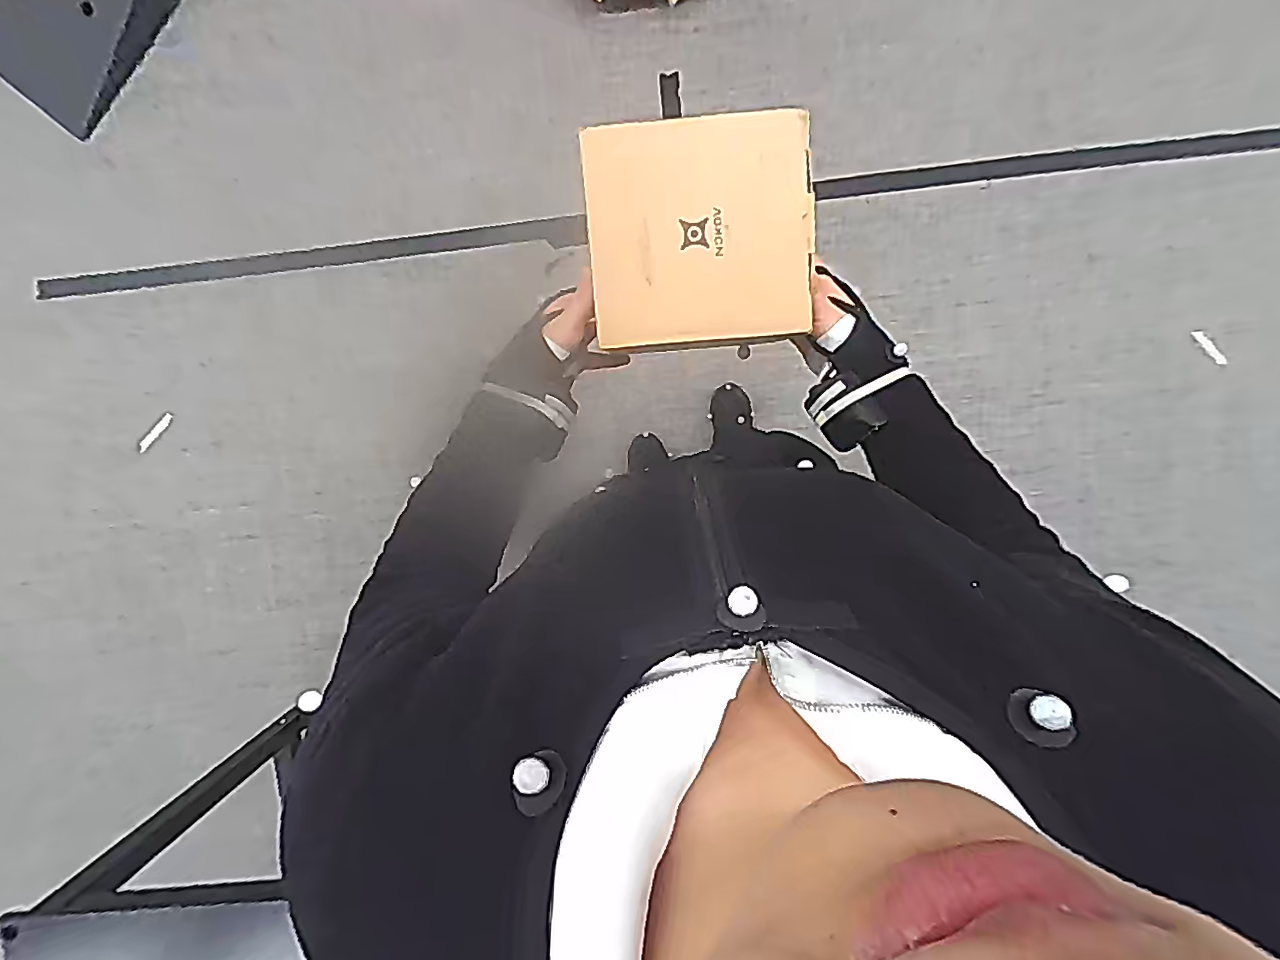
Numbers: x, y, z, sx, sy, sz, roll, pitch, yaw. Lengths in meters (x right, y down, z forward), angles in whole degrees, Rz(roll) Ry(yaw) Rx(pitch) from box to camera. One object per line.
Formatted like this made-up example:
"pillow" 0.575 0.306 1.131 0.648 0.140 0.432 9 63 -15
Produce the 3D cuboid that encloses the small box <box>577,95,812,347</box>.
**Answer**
"small box" 0.047 -0.216 0.497 0.179 0.176 0.168 -5 100 4
